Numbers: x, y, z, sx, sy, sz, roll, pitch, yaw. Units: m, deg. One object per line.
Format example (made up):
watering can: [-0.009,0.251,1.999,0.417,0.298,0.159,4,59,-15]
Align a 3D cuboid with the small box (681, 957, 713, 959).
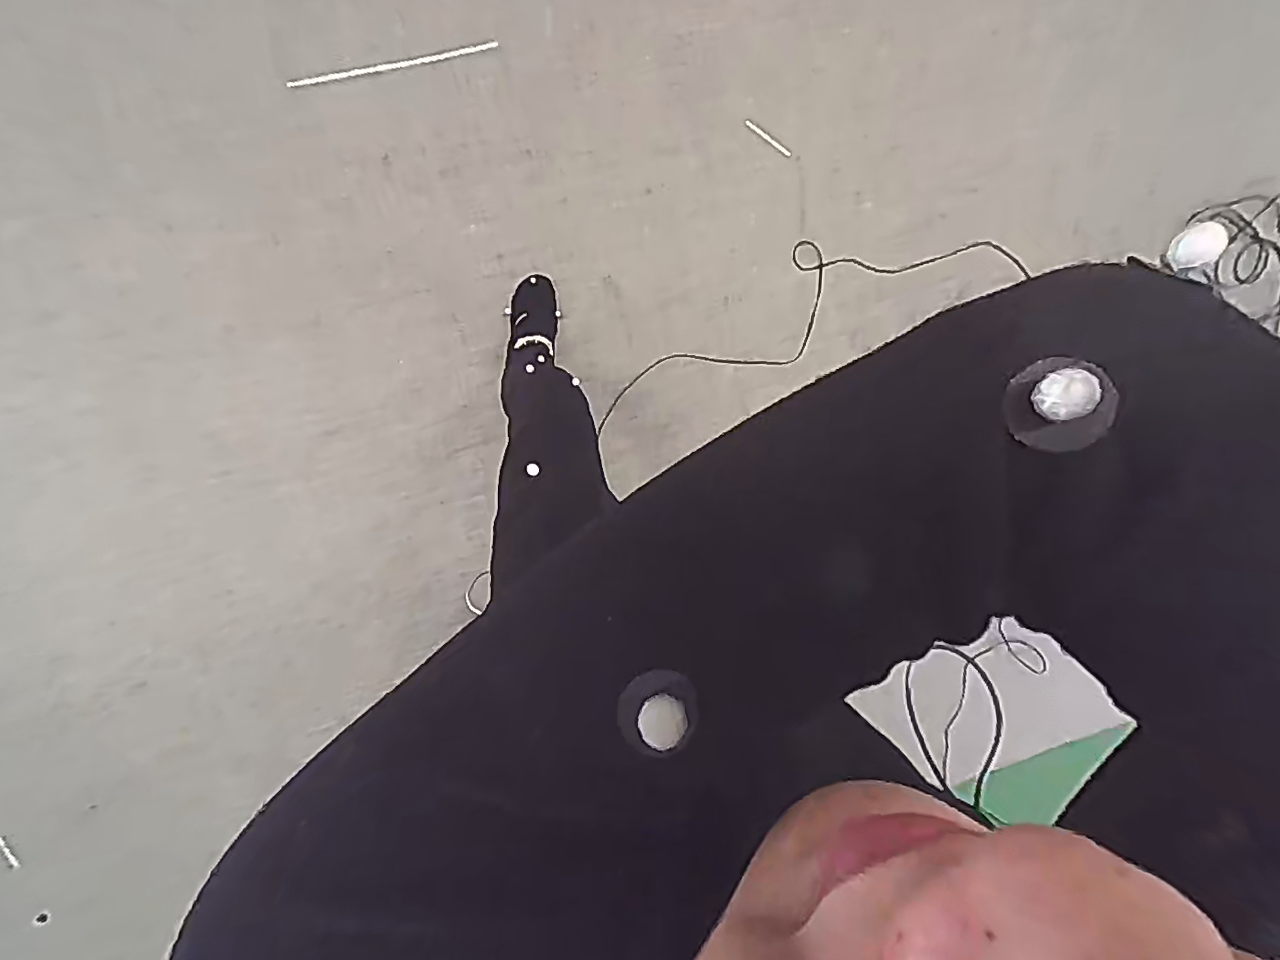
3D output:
small box: [0.163,1.564,1.601,0.168,0.176,0.179,-6,102,-7]
